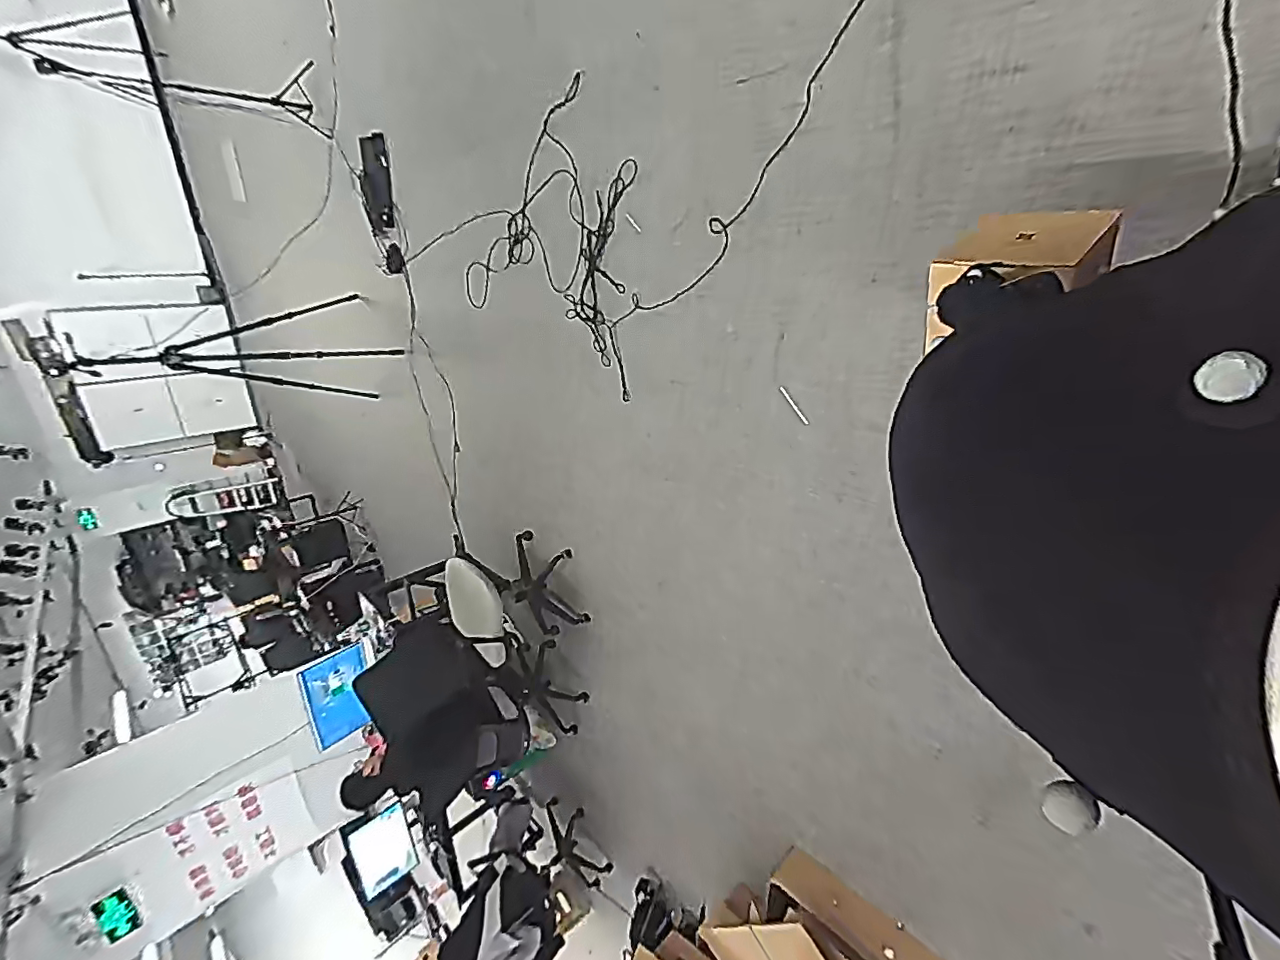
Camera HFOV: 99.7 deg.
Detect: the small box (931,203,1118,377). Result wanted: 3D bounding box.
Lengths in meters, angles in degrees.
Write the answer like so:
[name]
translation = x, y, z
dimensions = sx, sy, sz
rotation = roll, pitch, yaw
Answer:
[small box]
translation = 0.532, -0.272, 0.769
dimensions = 0.168, 0.179, 0.176
rotation = 24, 147, 43
